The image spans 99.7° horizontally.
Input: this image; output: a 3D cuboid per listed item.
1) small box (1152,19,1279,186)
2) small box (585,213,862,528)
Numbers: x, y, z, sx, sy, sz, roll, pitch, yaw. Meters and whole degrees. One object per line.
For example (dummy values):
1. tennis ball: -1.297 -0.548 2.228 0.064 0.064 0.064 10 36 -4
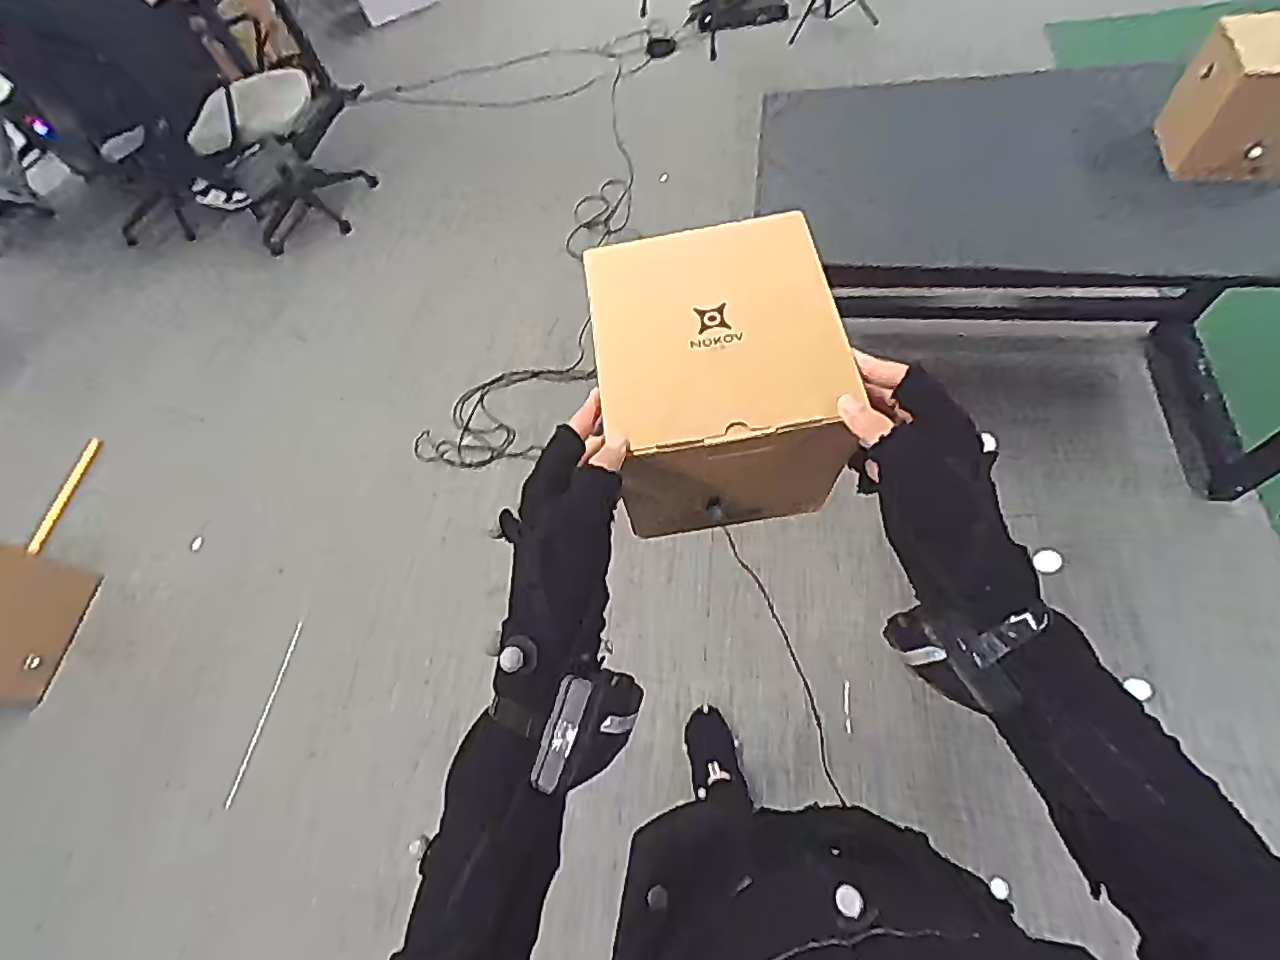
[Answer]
1. small box: 0.986 -0.609 0.877 0.168 0.176 0.179 8 62 16
2. small box: 0.055 -0.077 0.444 0.168 0.176 0.179 -10 66 3
